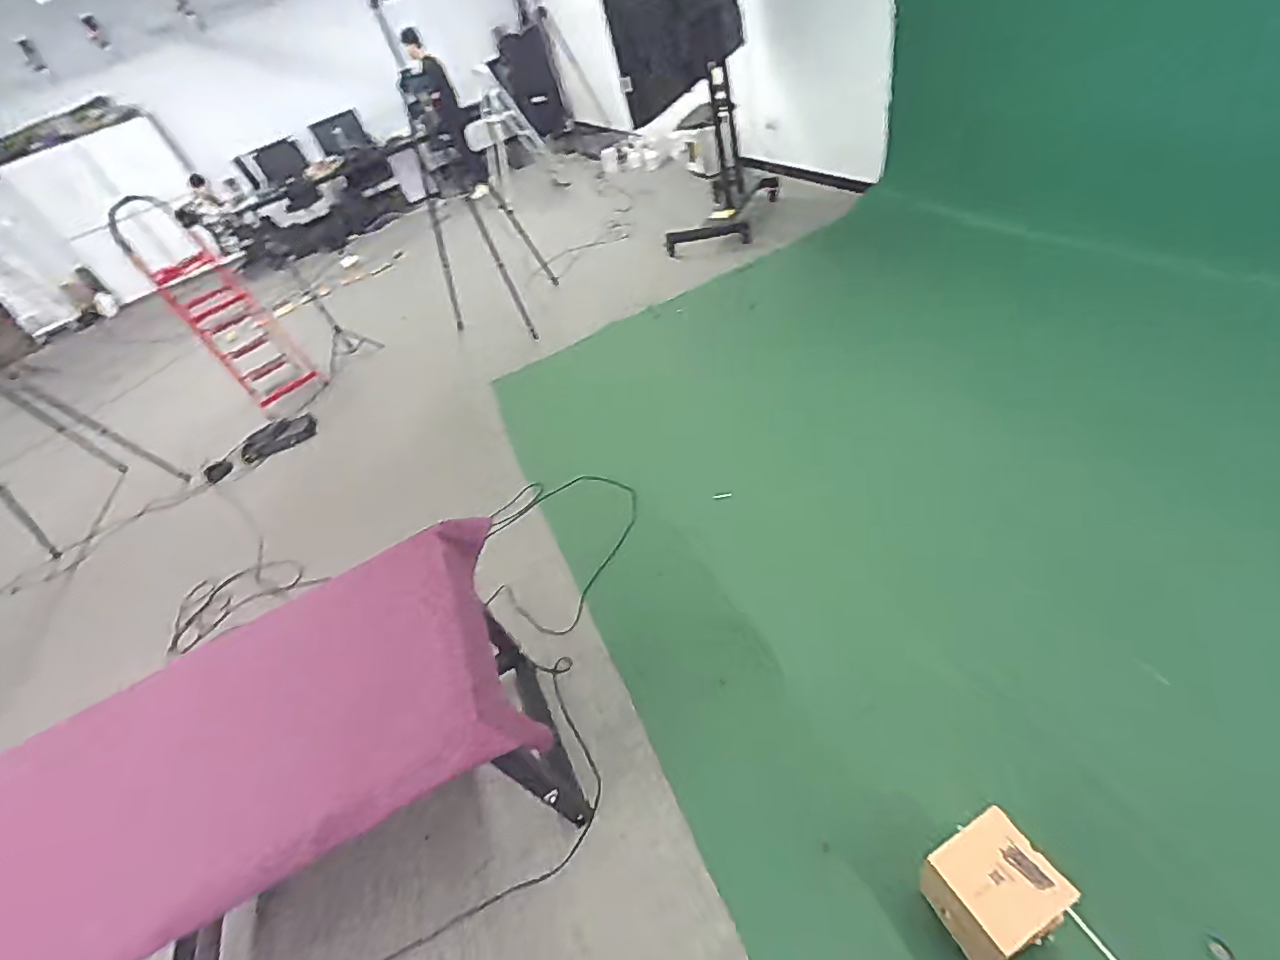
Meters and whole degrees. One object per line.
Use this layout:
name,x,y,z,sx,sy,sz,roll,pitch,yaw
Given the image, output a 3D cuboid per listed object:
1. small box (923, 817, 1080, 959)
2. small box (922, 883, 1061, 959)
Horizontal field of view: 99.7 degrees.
small box,0.662,0.781,1.016,0.179,0.176,0.168,-29,42,-9
small box,0.714,0.897,1.120,0.179,0.176,0.168,-26,42,-8
